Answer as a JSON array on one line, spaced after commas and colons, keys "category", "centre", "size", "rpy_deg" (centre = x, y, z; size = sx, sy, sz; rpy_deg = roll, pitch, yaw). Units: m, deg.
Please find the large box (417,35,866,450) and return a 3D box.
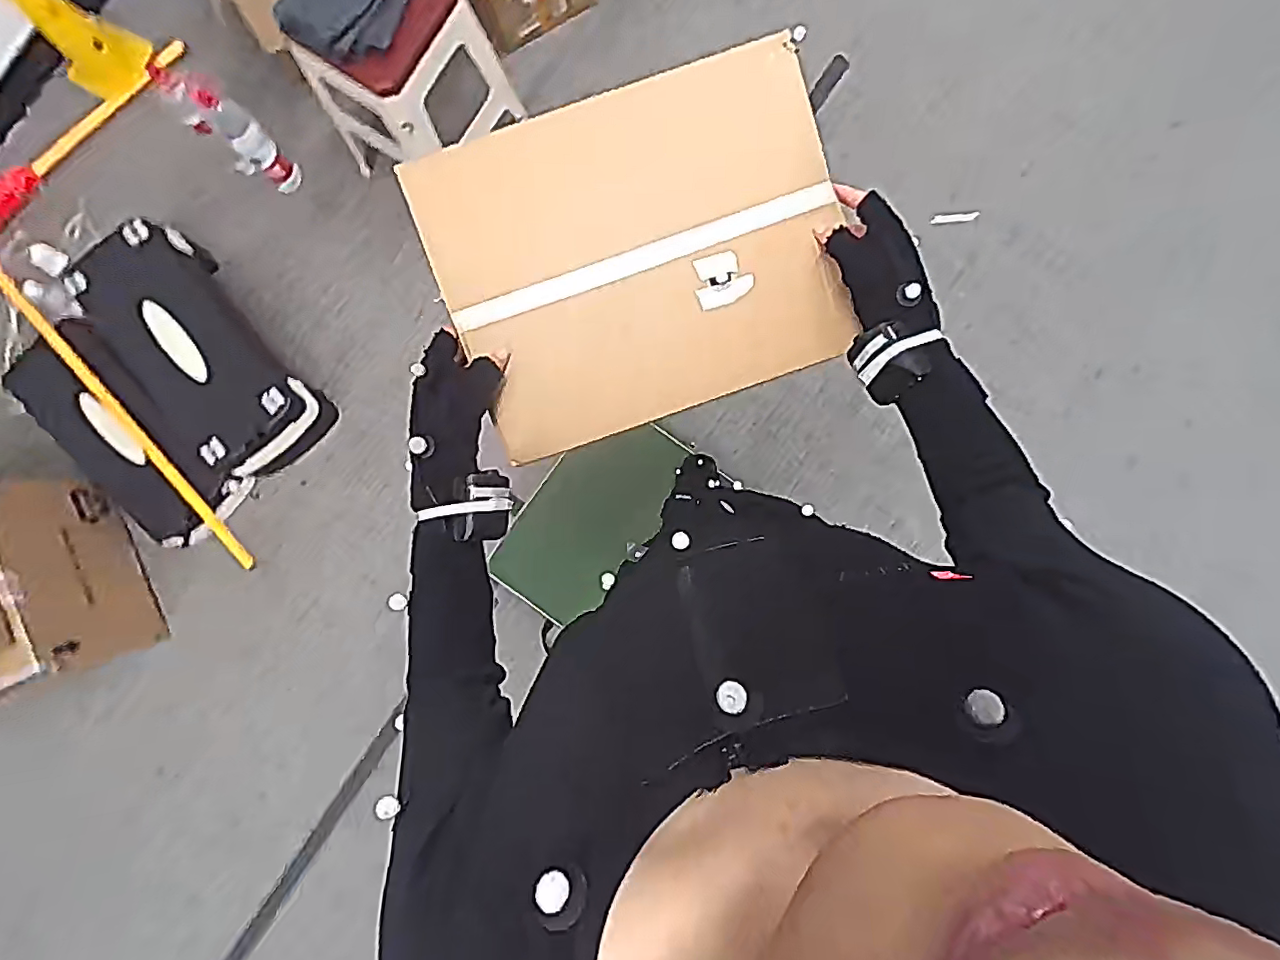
[{"category": "large box", "centre": [0.001, -0.256, 0.707], "size": [0.408, 0.320, 0.320], "rpy_deg": [-19, 99, -1]}]
